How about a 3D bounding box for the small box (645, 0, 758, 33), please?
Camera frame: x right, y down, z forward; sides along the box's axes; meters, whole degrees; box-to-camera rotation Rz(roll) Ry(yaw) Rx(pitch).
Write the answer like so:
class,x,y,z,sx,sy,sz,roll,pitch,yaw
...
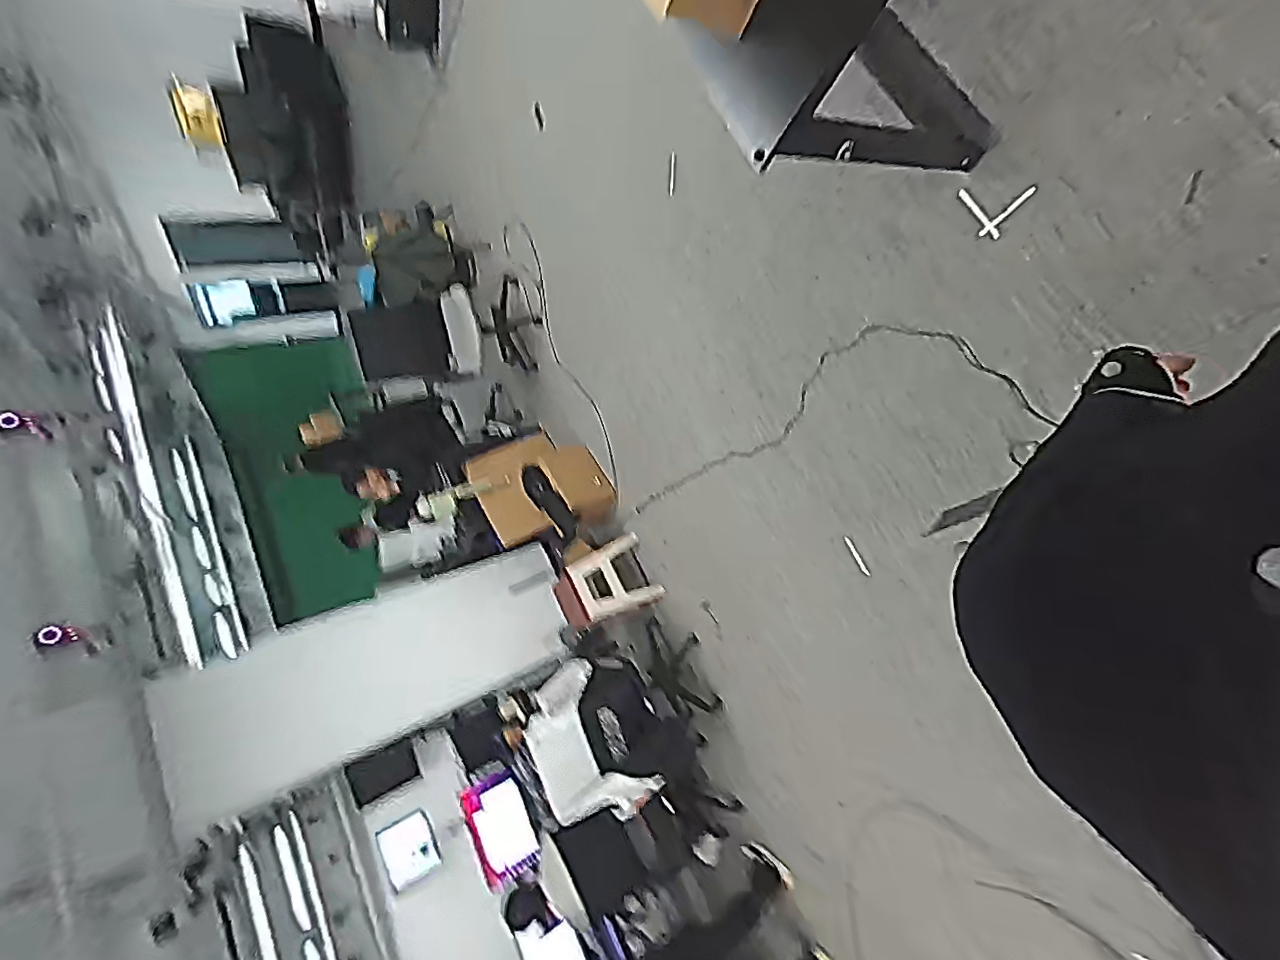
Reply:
class,x,y,z,sx,sy,sz,roll,pitch,yaw
small box,0.092,-0.822,0.817,0.179,0.176,0.168,61,147,16
